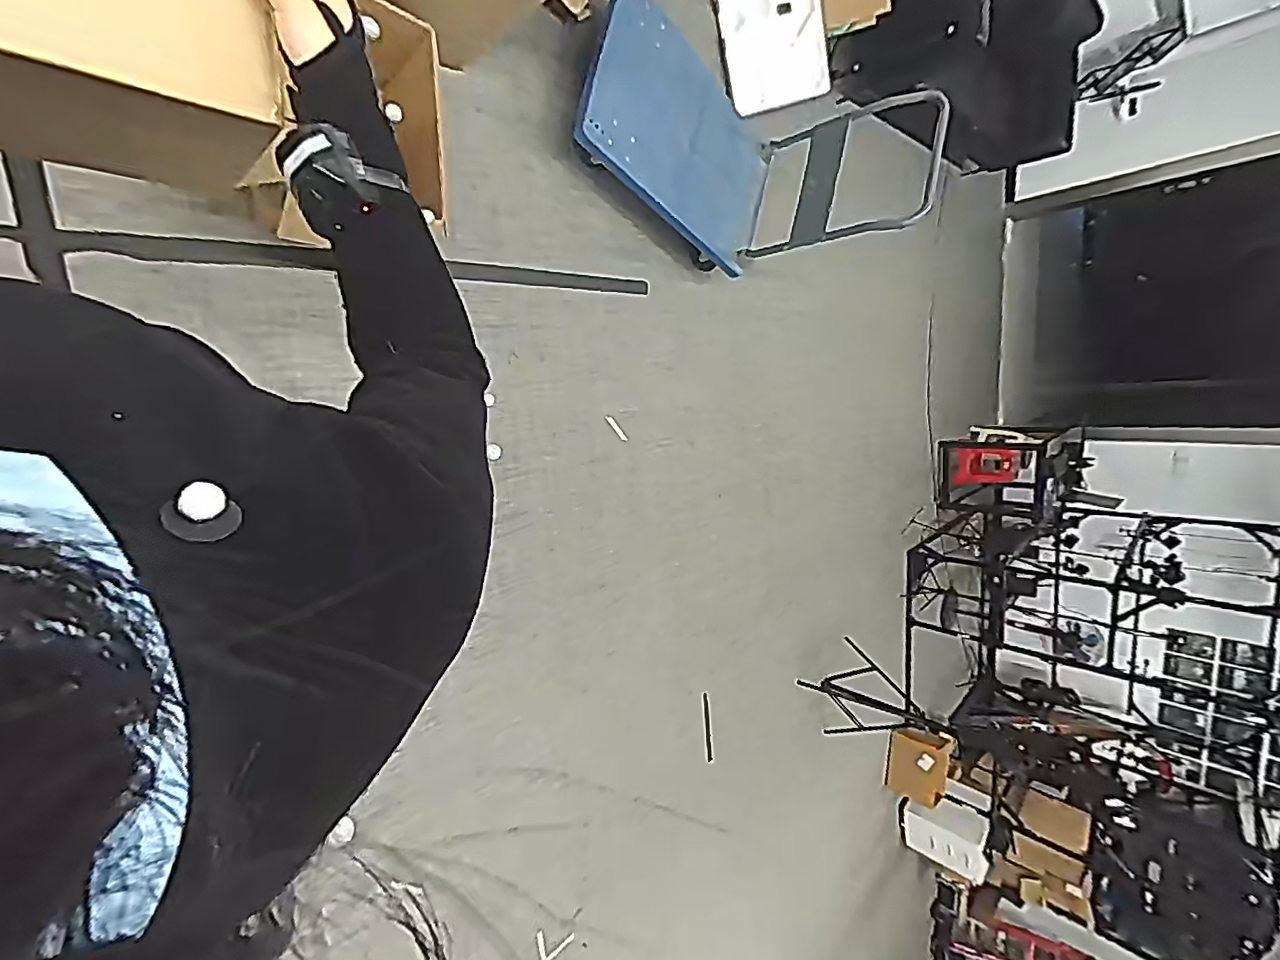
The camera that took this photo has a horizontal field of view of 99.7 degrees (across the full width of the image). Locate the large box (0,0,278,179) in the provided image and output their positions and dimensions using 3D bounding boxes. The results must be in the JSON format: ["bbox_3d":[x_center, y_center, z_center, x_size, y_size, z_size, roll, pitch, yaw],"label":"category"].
[{"bbox_3d":[-0.531,-0.443,0.373,0.408,0.320,0.320,-10,107,-43],"label":"large box"}]
